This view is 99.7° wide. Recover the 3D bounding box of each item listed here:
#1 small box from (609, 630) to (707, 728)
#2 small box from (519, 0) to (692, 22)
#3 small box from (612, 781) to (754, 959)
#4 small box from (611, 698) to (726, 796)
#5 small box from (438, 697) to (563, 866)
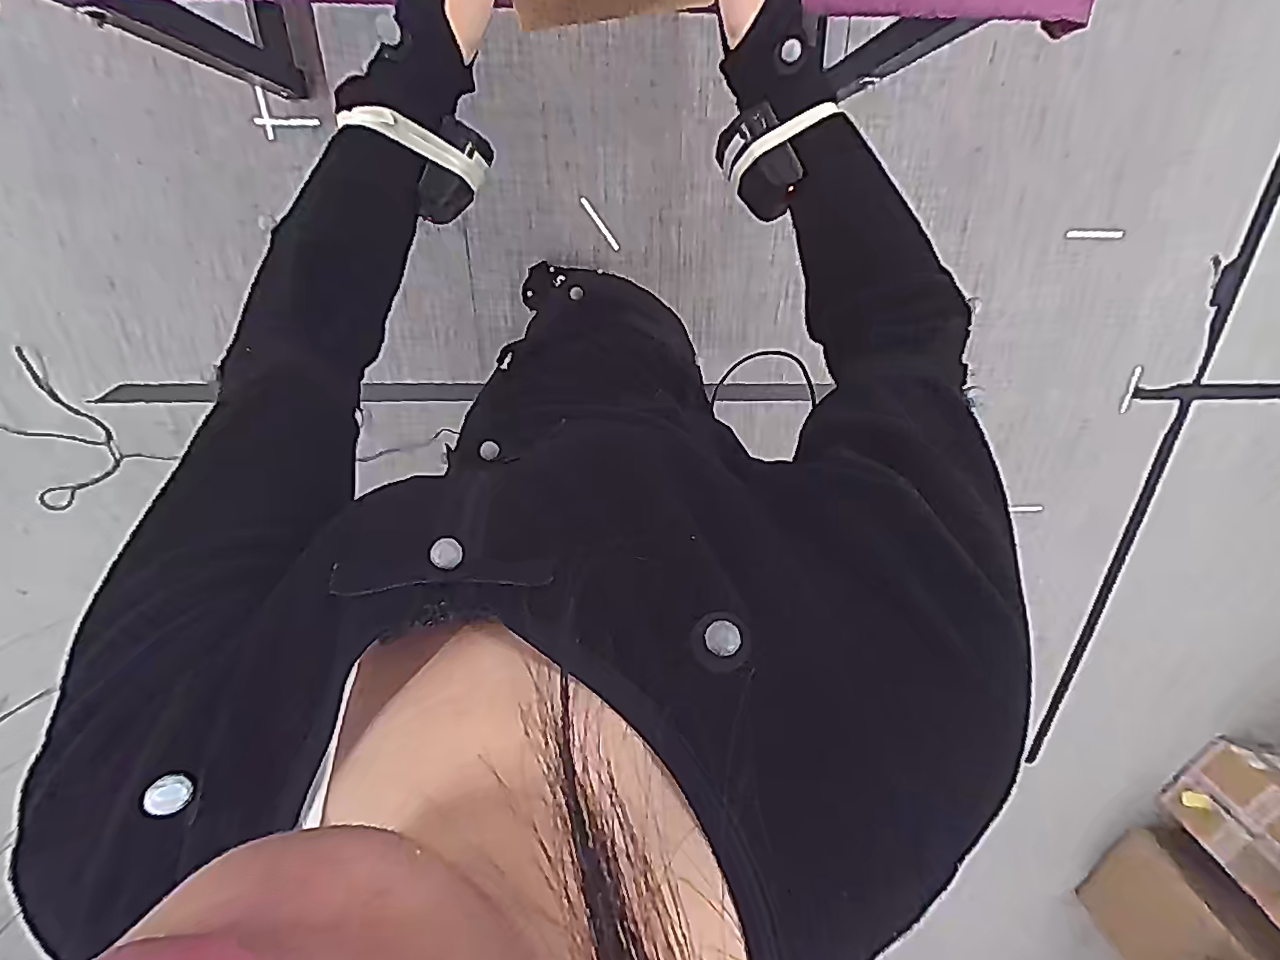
[{"bbox_3d":[0.026,0.410,1.032,0.168,0.176,0.179,-1,116,-5],"label":"small box"},{"bbox_3d":[-0.020,-0.457,0.372,0.179,0.176,0.168,-9,110,-1],"label":"small box"},{"bbox_3d":[0.048,0.547,0.739,0.168,0.176,0.179,-2,115,-4],"label":"small box"},{"bbox_3d":[0.037,0.477,0.885,0.168,0.176,0.179,-2,116,-4],"label":"small box"},{"bbox_3d":[-0.210,0.474,0.861,0.168,0.176,0.179,1,114,-6],"label":"small box"}]
